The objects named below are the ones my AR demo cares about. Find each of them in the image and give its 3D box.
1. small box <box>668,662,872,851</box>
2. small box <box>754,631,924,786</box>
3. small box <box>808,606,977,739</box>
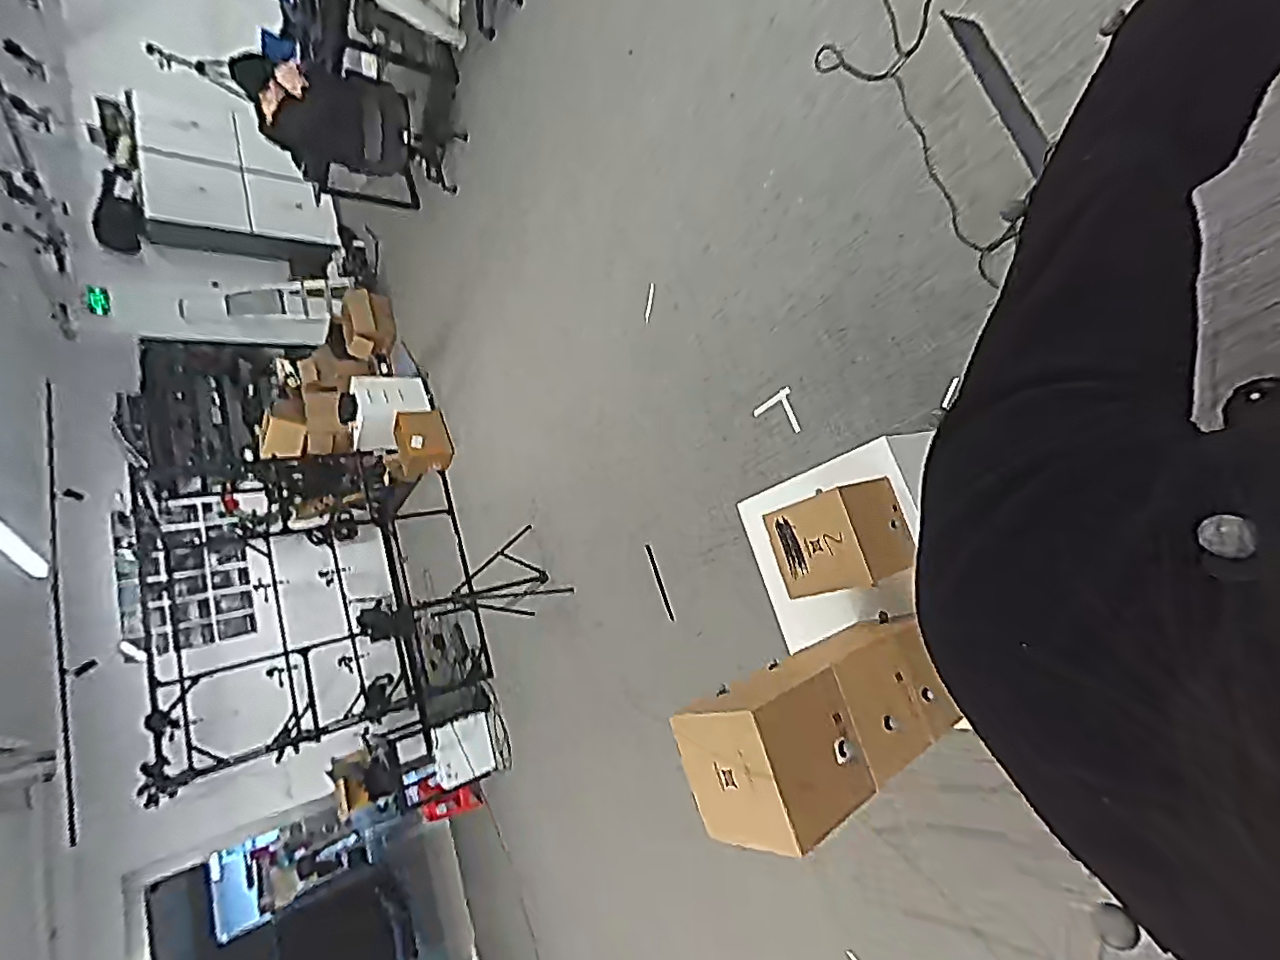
[{"bbox_3d":[0.173,0.360,0.733,0.179,0.176,0.168,-35,70,49],"label":"small box"},{"bbox_3d":[0.303,0.342,0.829,0.179,0.176,0.168,-34,69,50],"label":"small box"},{"bbox_3d":[0.431,0.326,0.928,0.179,0.176,0.168,-33,70,51],"label":"small box"}]
